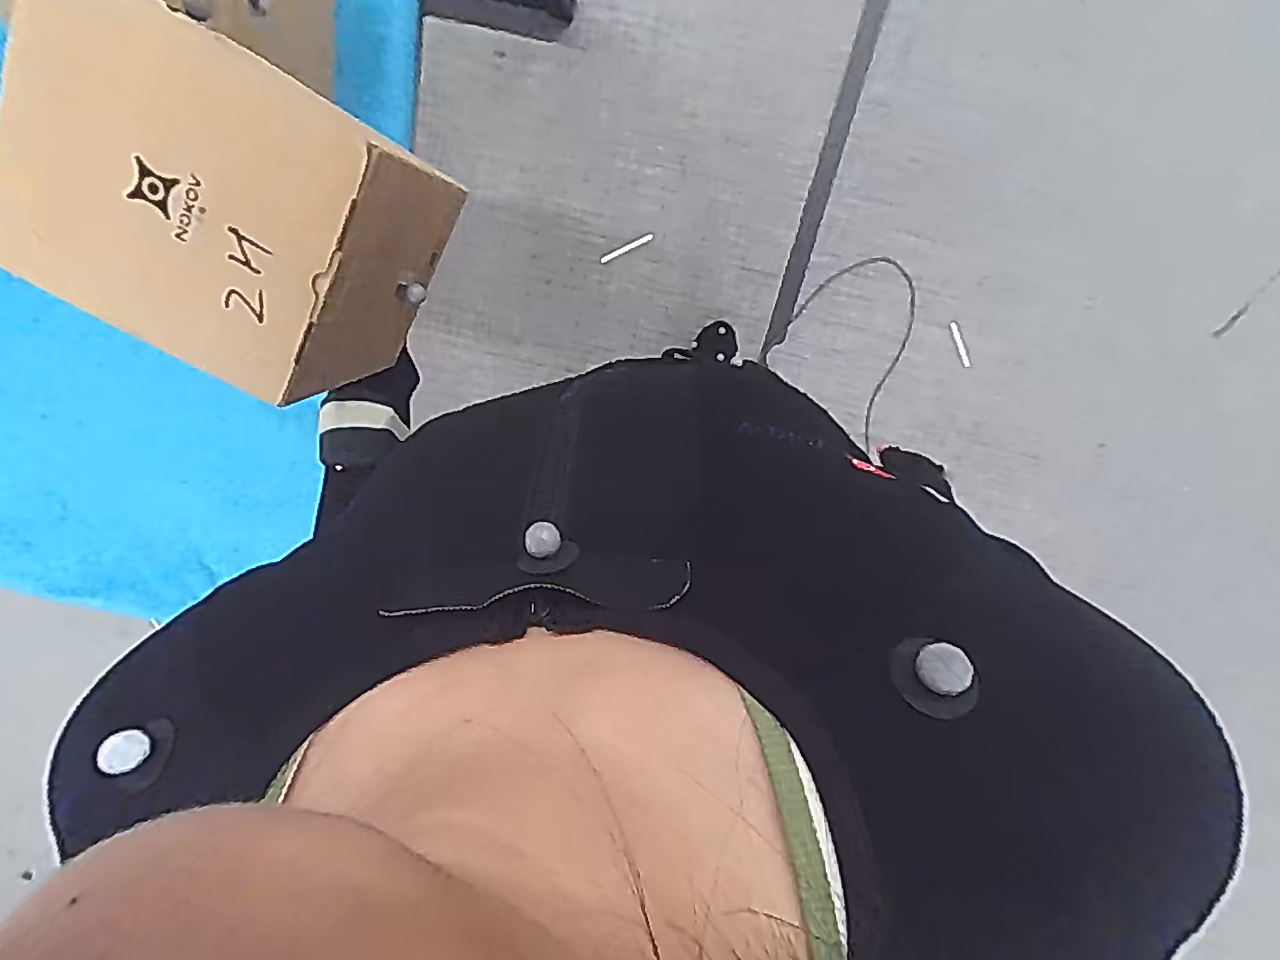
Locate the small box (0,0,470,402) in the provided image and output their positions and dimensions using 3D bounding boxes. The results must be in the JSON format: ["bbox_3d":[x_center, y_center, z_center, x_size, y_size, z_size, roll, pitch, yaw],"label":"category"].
[{"bbox_3d":[-0.248,-0.182,0.367,0.179,0.176,0.168,33,109,-14],"label":"small box"}]
